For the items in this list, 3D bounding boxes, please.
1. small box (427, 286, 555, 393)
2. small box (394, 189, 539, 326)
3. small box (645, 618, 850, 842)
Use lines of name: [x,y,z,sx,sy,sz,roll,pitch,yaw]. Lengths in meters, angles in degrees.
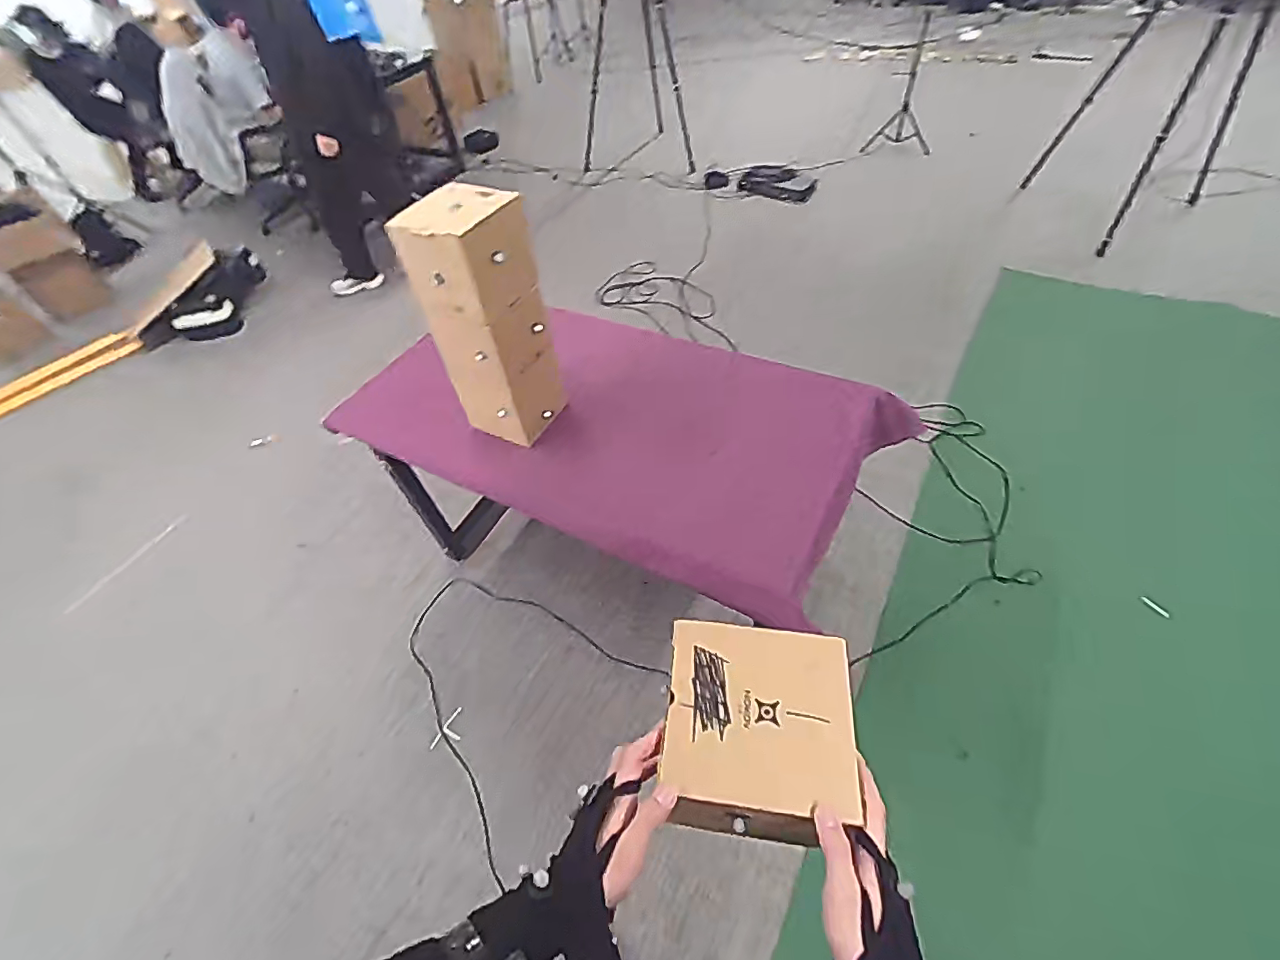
small box: [-0.301,-0.307,1.135,0.179,0.176,0.168,20,55,22]
small box: [-0.312,-0.416,1.014,0.168,0.176,0.179,20,55,20]
small box: [0.106,0.265,0.570,0.179,0.176,0.168,5,50,7]
